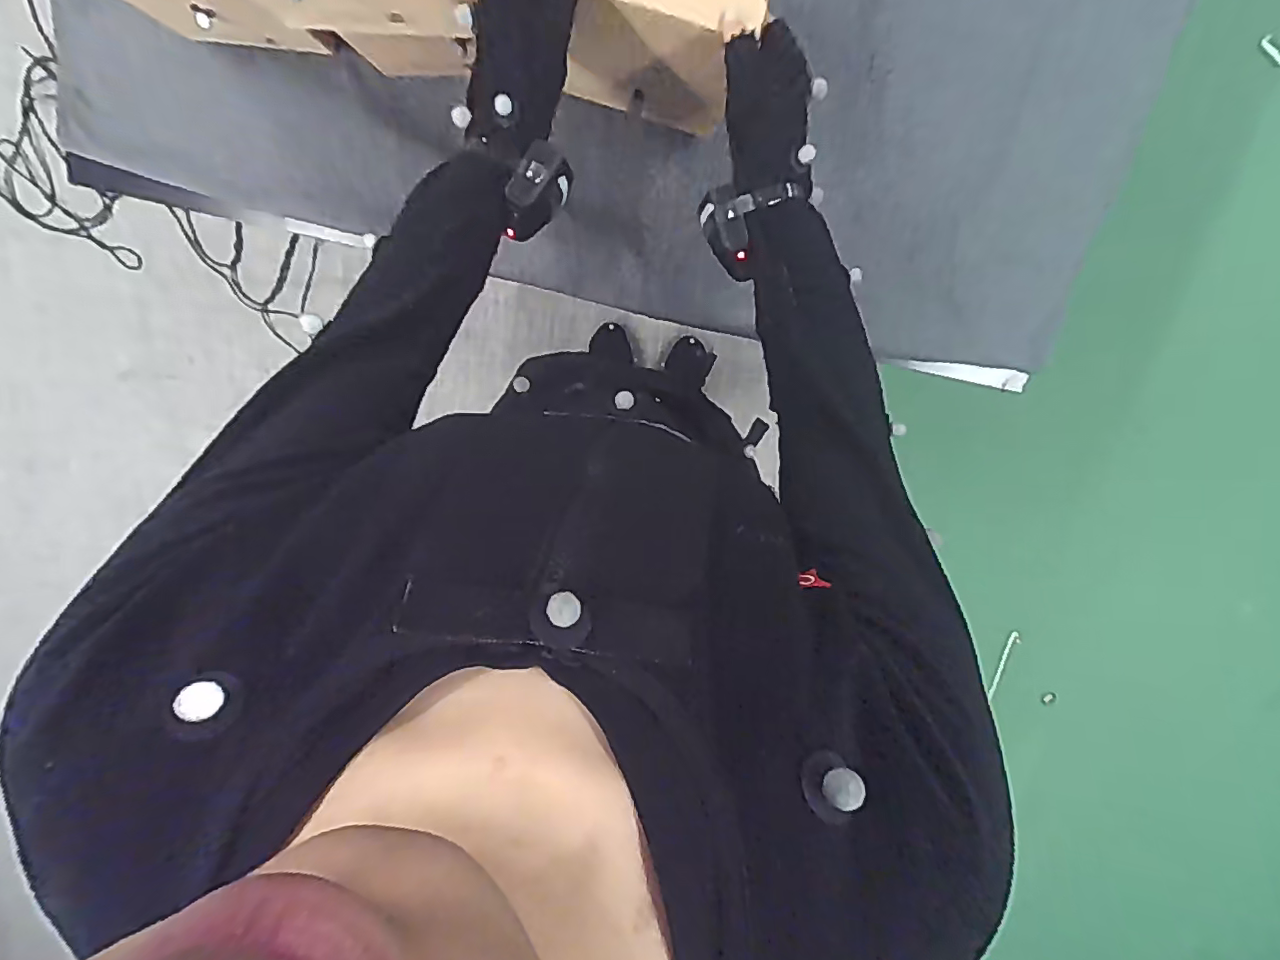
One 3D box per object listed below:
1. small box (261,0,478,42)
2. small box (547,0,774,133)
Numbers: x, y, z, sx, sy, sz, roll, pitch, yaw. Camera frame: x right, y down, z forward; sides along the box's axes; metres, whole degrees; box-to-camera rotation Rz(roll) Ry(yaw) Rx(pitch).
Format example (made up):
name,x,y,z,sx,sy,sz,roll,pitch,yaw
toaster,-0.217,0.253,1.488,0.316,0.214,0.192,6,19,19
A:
name,x,y,z,sx,sy,sz,roll,pitch,yaw
small box,-0.213,-0.433,0.361,0.168,0.176,0.179,3,107,0
small box,0.021,-0.449,0.483,0.179,0.176,0.168,12,97,-9
